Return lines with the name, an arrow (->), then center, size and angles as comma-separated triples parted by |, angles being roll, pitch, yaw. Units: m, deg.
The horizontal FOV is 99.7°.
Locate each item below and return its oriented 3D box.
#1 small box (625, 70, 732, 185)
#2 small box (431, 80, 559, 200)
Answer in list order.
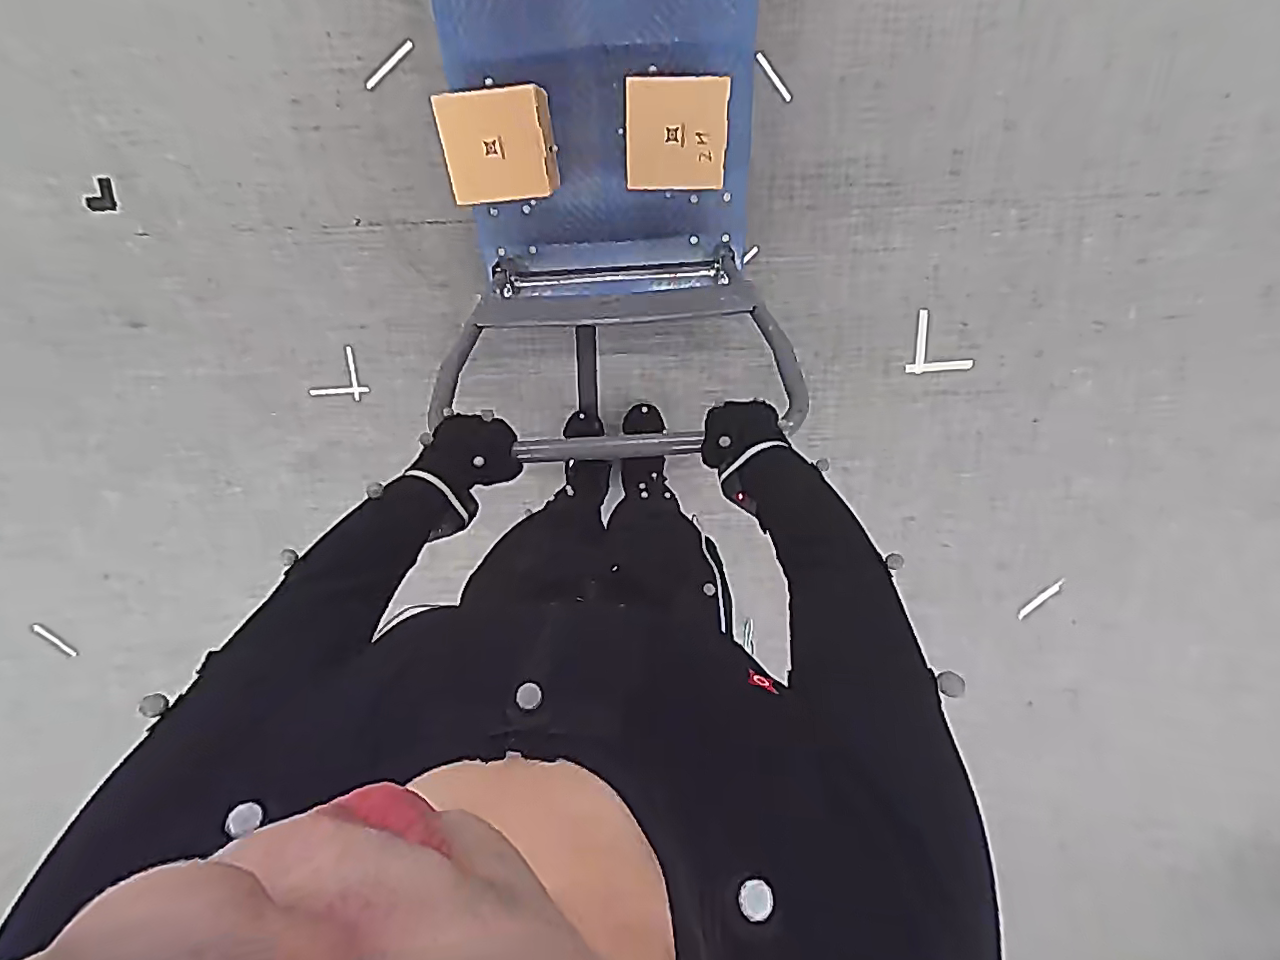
small box -> 0.062, -0.640, 0.991 | 0.179, 0.176, 0.168 | -1, 123, -2
small box -> -0.254, -0.619, 0.993 | 0.179, 0.176, 0.168 | -6, 123, 0
